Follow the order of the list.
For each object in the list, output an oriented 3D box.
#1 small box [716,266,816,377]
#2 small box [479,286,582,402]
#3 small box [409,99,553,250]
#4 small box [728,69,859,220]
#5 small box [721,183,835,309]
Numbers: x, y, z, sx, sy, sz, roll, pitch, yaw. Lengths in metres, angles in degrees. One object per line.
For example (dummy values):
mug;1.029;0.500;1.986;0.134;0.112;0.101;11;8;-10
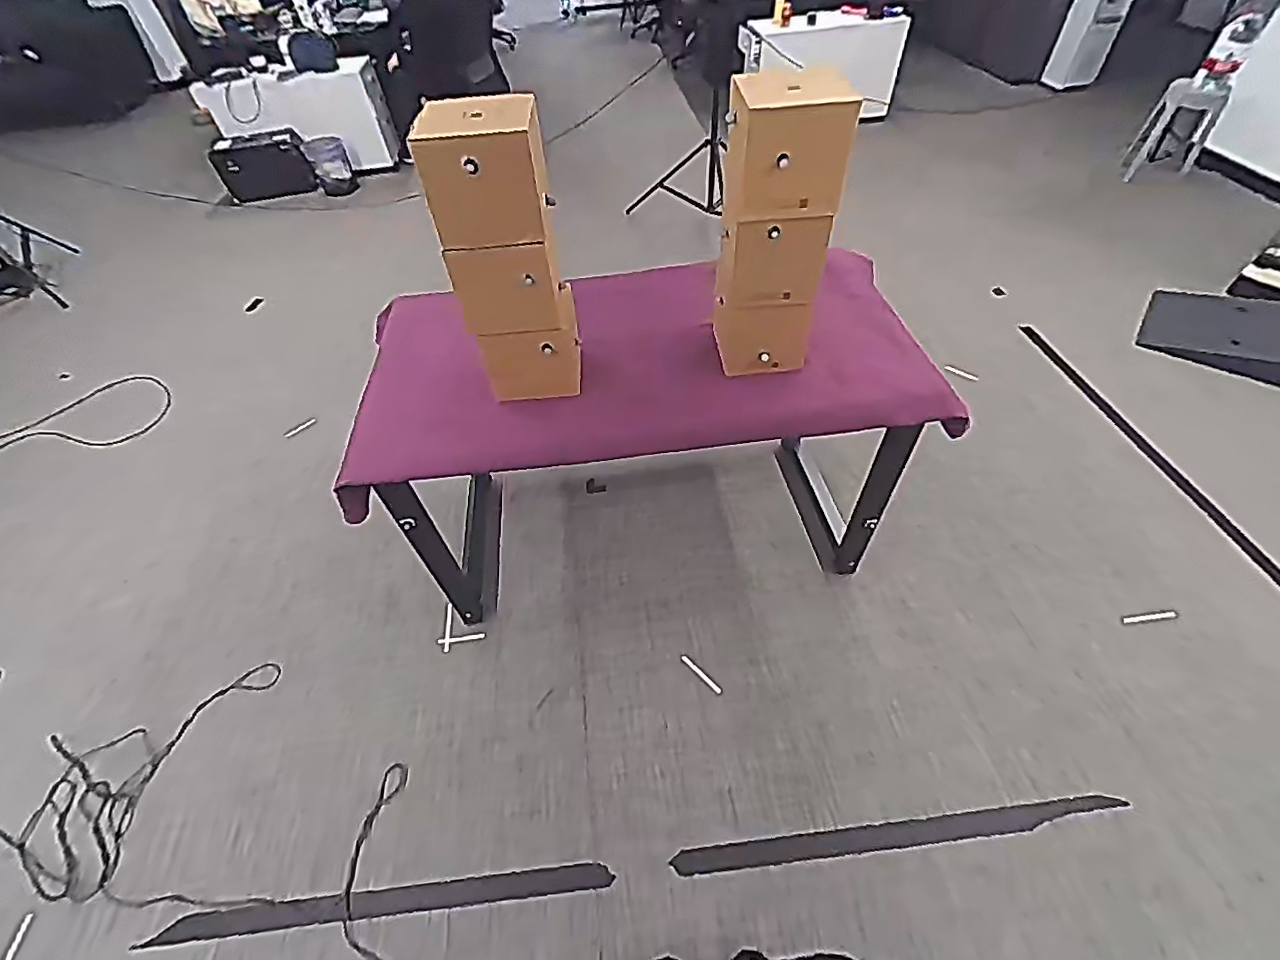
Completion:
small box;0.256;-0.341;1.146;0.168;0.176;0.179;-5;50;0
small box;-0.218;-0.281;1.129;0.179;0.176;0.168;-5;49;0
small box;-0.245;-0.492;0.881;0.179;0.176;0.168;-5;51;-1
small box;0.239;-0.543;0.888;0.168;0.176;0.179;-4;49;2
small box;0.247;-0.443;1.017;0.168;0.176;0.179;-4;49;2
